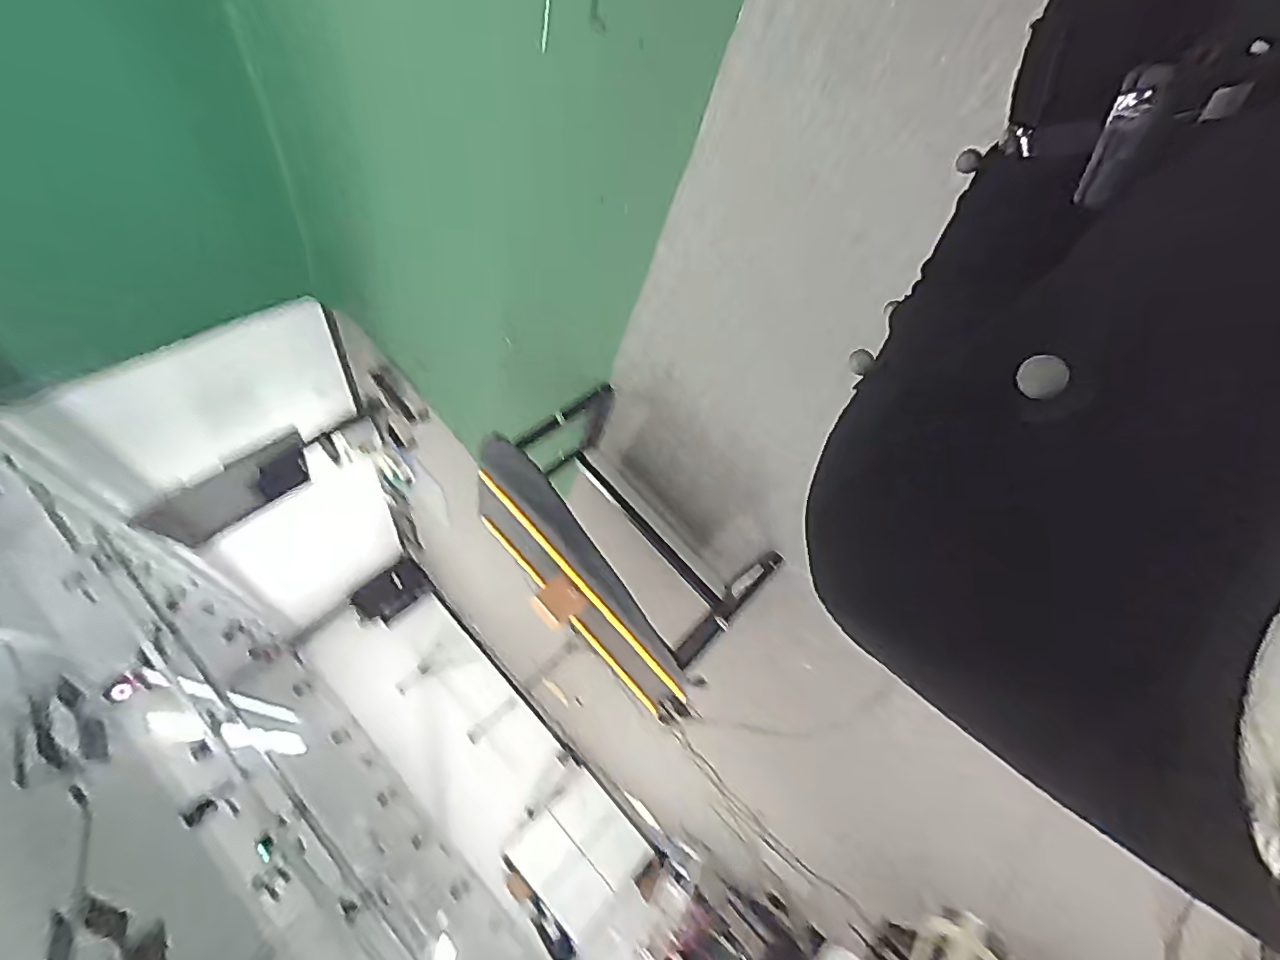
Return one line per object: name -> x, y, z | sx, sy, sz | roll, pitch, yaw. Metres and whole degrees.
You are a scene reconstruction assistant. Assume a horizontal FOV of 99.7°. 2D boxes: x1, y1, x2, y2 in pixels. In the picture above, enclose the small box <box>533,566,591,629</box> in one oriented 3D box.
small box -> -0.327, 0.490, 2.259 | 0.168, 0.176, 0.179 | 44, 149, 10
